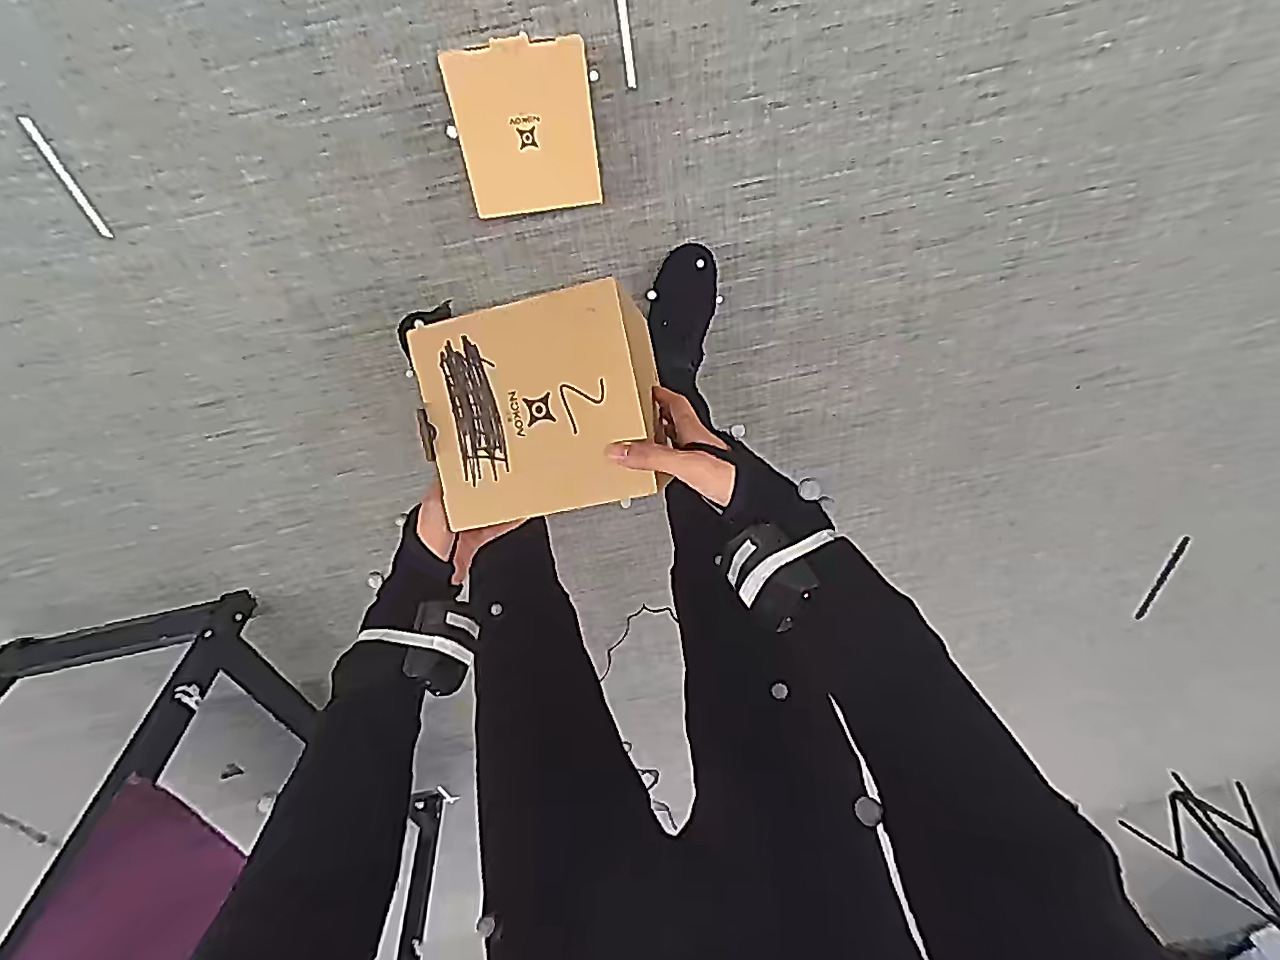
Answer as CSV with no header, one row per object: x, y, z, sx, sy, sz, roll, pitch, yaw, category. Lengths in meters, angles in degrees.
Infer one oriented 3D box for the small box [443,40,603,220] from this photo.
-0.142,-0.467,0.721,0.168,0.176,0.179,-8,127,-2,small box
